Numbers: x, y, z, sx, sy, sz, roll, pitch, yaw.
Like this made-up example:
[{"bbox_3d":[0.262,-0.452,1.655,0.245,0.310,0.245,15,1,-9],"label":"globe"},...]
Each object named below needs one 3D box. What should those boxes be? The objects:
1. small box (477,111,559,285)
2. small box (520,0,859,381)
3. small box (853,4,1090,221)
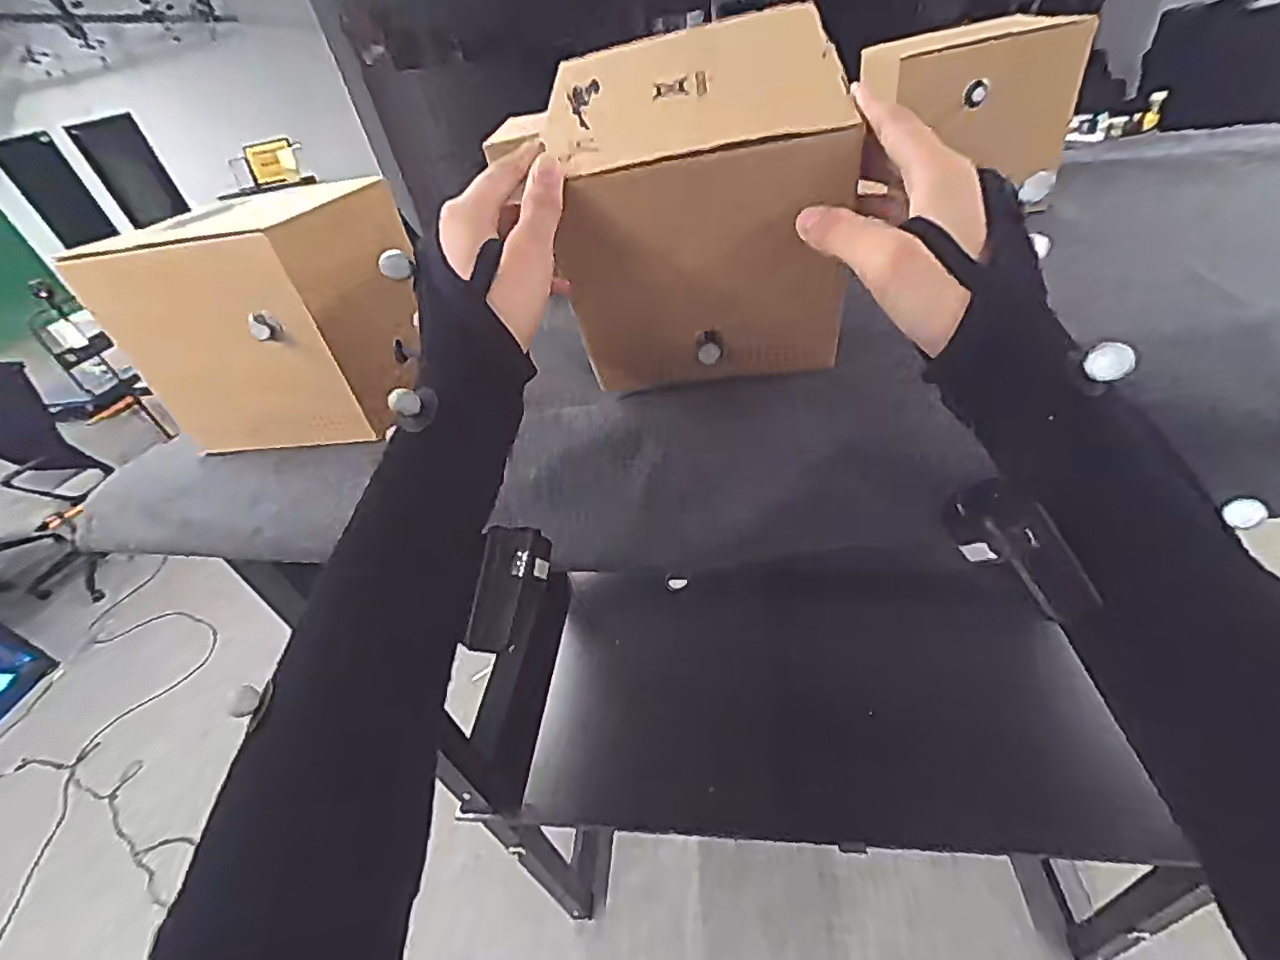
[{"bbox_3d":[-0.079,-0.362,0.674,0.168,0.176,0.179,-9,38,6],"label":"small box"},{"bbox_3d":[0.038,-0.190,0.382,0.179,0.176,0.168,-5,55,10],"label":"small box"},{"bbox_3d":[0.347,-0.409,0.614,0.179,0.176,0.168,-4,40,10],"label":"small box"}]
